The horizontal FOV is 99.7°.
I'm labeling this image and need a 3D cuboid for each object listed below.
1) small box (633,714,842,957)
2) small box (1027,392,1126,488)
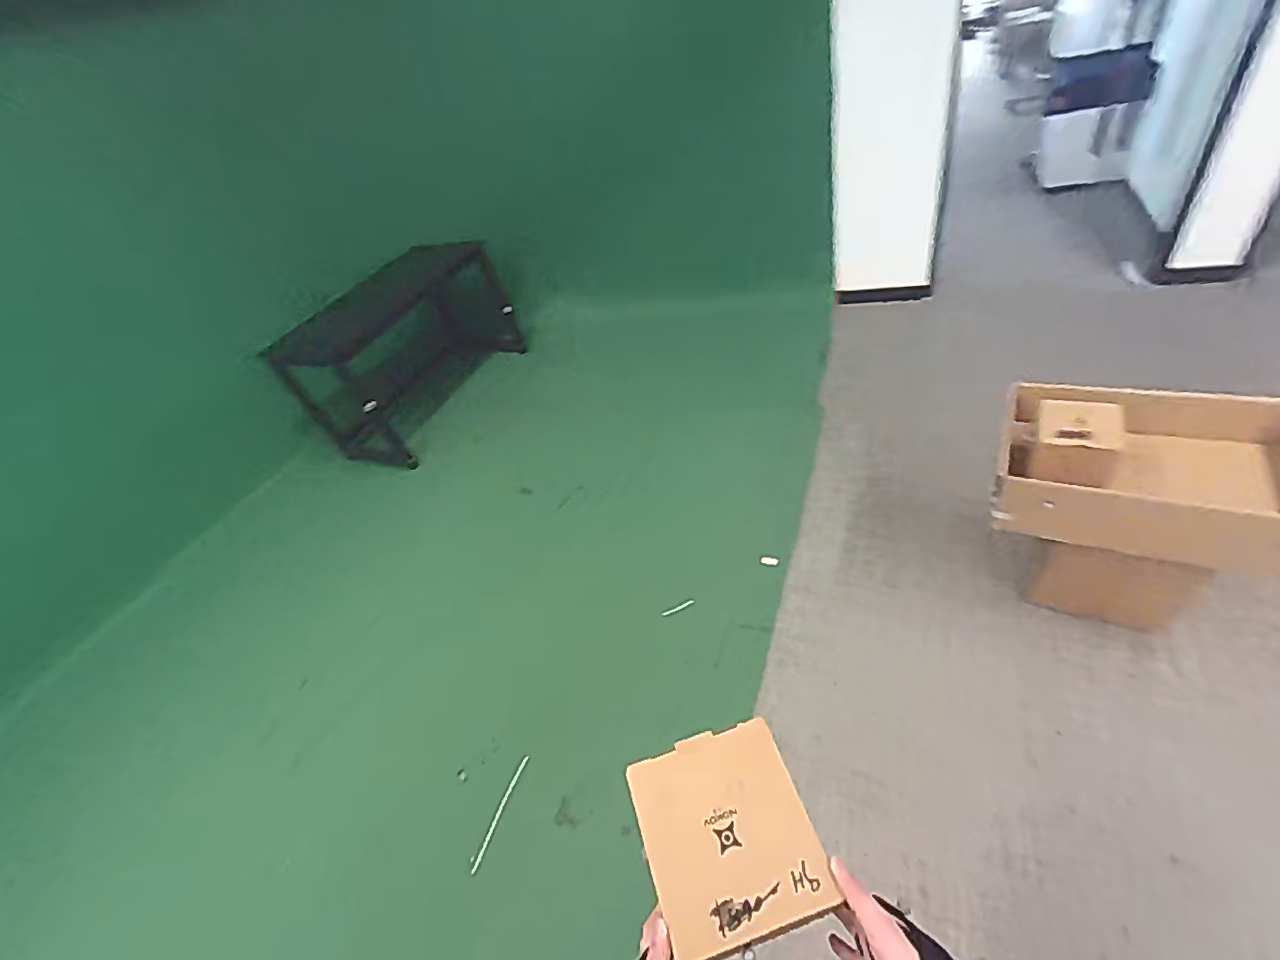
[{"bbox_3d":[0.103,0.401,0.610,0.168,0.176,0.179,-19,47,-2],"label":"small box"},{"bbox_3d":[1.103,-0.101,1.374,0.168,0.176,0.179,10,50,30],"label":"small box"}]
